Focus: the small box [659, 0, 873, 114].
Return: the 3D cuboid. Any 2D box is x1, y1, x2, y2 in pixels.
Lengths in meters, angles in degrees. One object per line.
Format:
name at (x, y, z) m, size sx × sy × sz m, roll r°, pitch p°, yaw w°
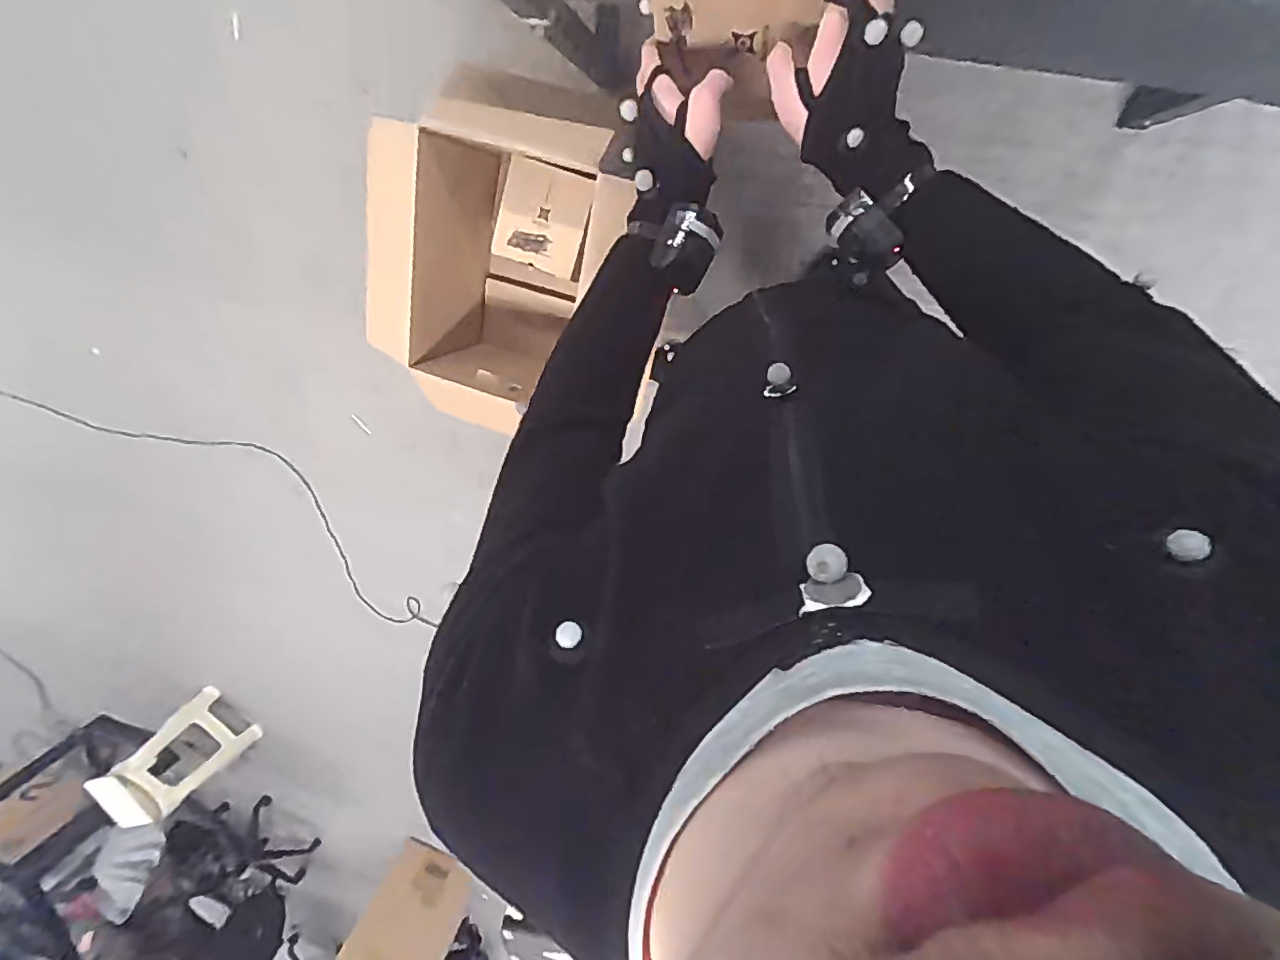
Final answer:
small box at (0.109, -0.466, 0.479) m, size 0.179 × 0.168 × 0.176 m, roll 3°, pitch 81°, yaw 6°
